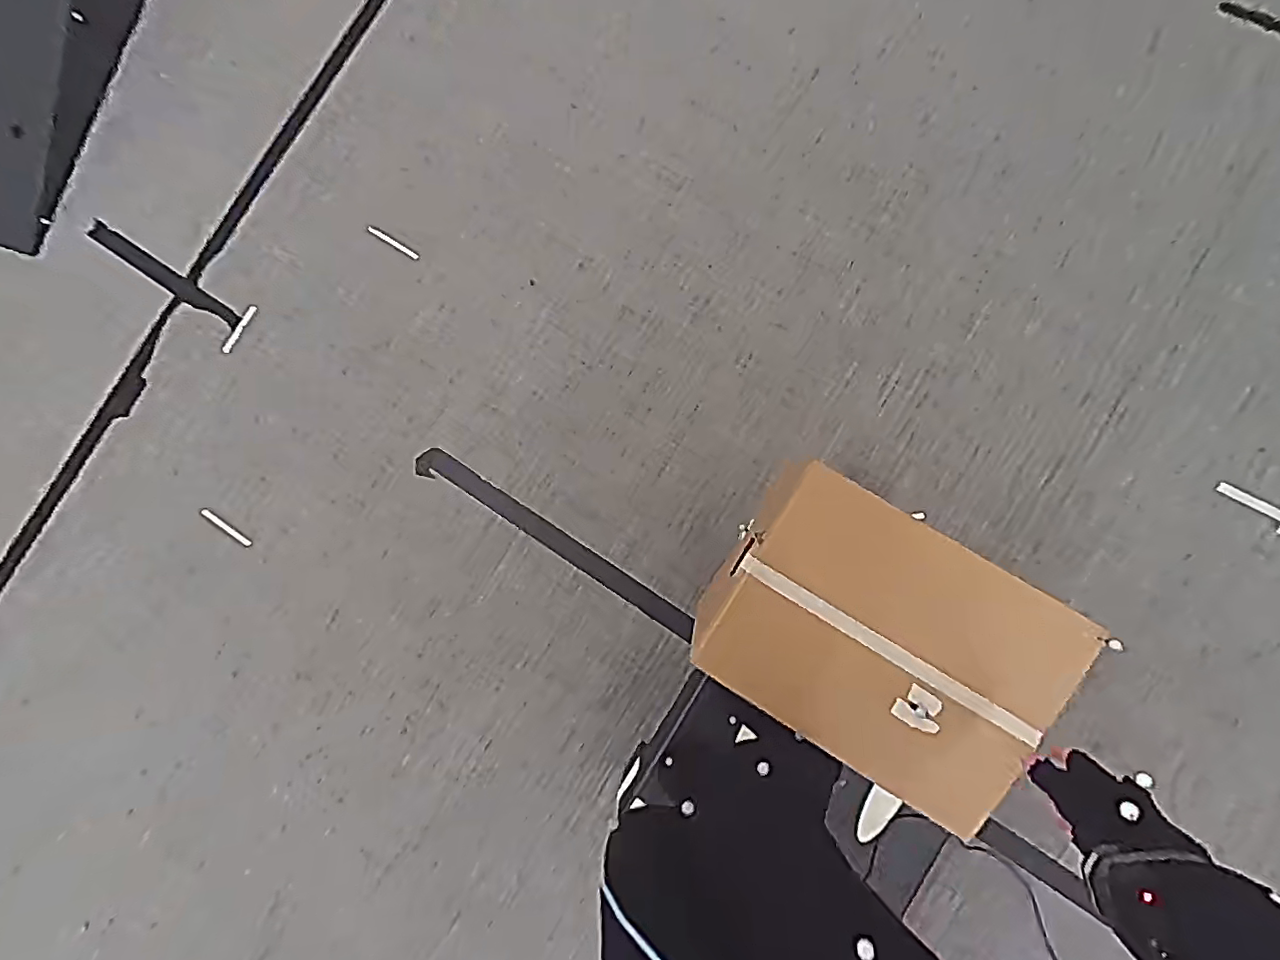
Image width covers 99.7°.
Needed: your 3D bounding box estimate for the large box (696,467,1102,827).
[{"bbox_3d":[0.334,0.206,0.832,0.408,0.320,0.320,31,95,6],"label":"large box"}]
